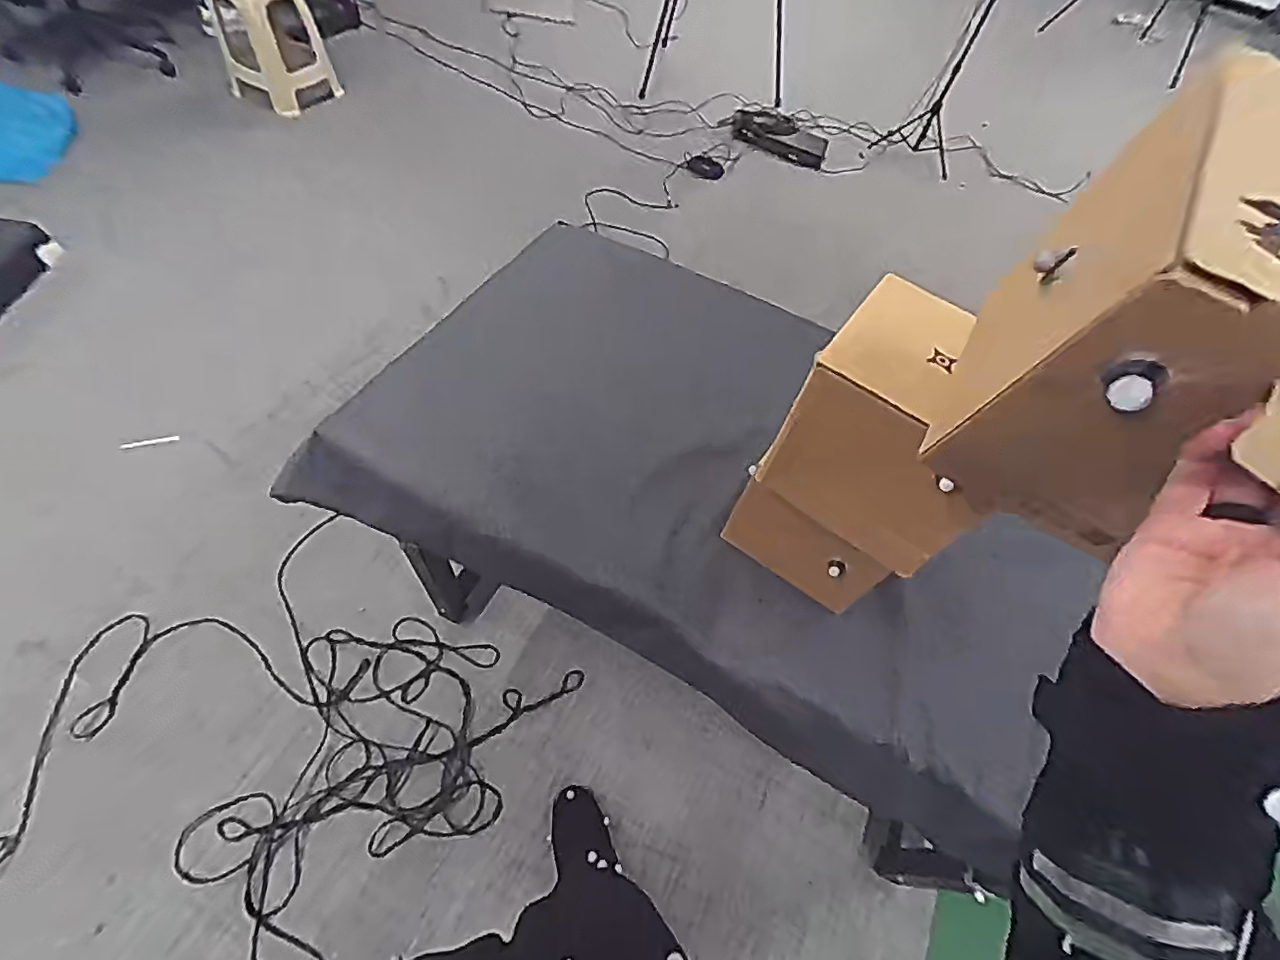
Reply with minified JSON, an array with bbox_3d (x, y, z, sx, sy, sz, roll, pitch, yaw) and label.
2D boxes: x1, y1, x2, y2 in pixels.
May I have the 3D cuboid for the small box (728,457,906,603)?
[{"bbox_3d":[0.233,0.025,0.654,0.179,0.176,0.168,33,57,14],"label":"small box"}]

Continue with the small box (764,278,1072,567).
[{"bbox_3d":[0.244,-0.049,0.509,0.179,0.176,0.168,35,58,14],"label":"small box"}]
